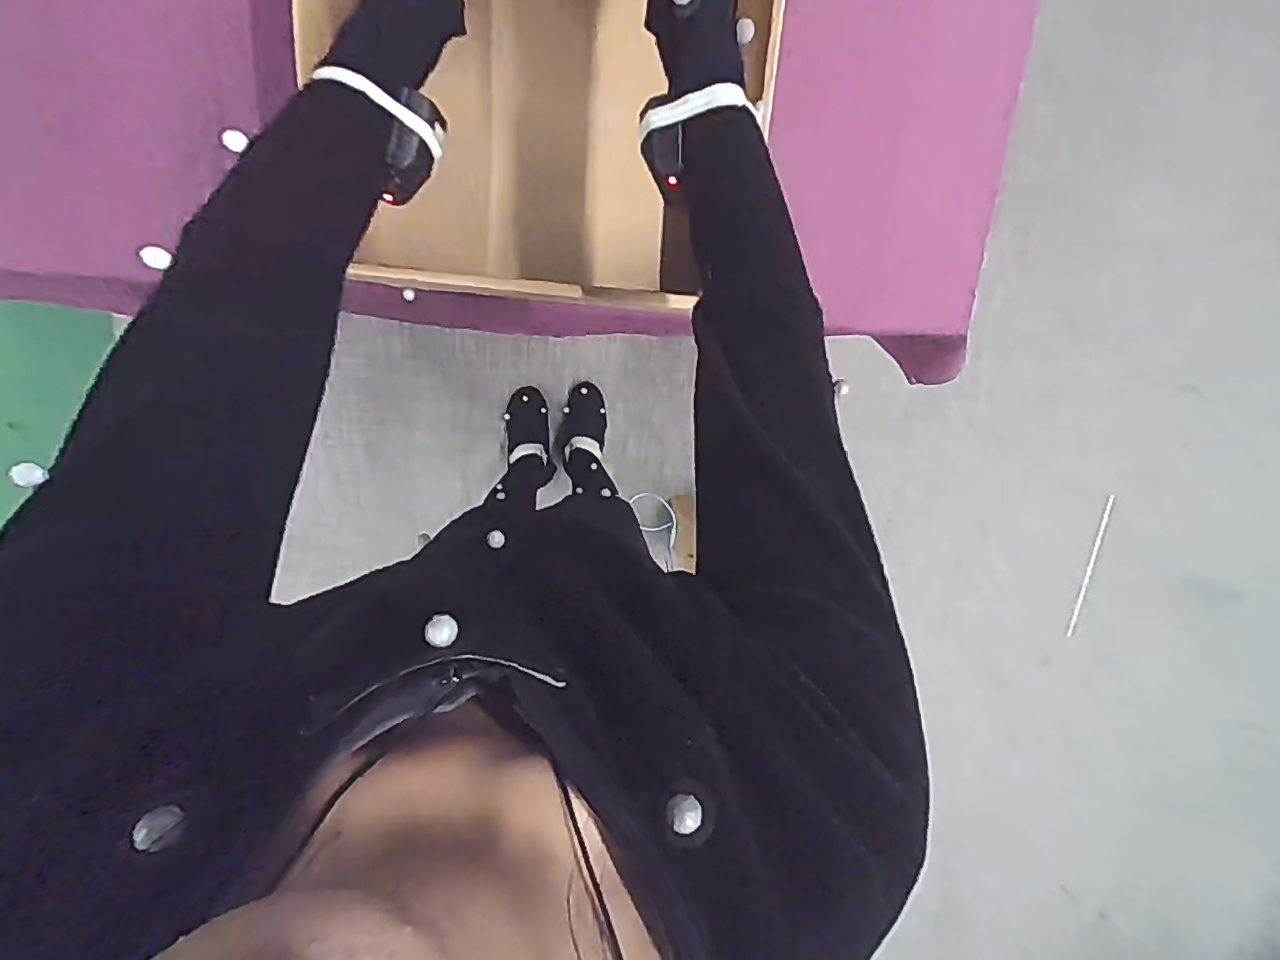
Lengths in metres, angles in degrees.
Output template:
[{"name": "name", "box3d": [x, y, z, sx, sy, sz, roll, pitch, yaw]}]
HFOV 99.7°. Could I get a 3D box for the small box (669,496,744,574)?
[{"name": "small box", "box3d": [0.175, 0.146, 1.484, 0.179, 0.176, 0.168, -3, 105, -6]}]
